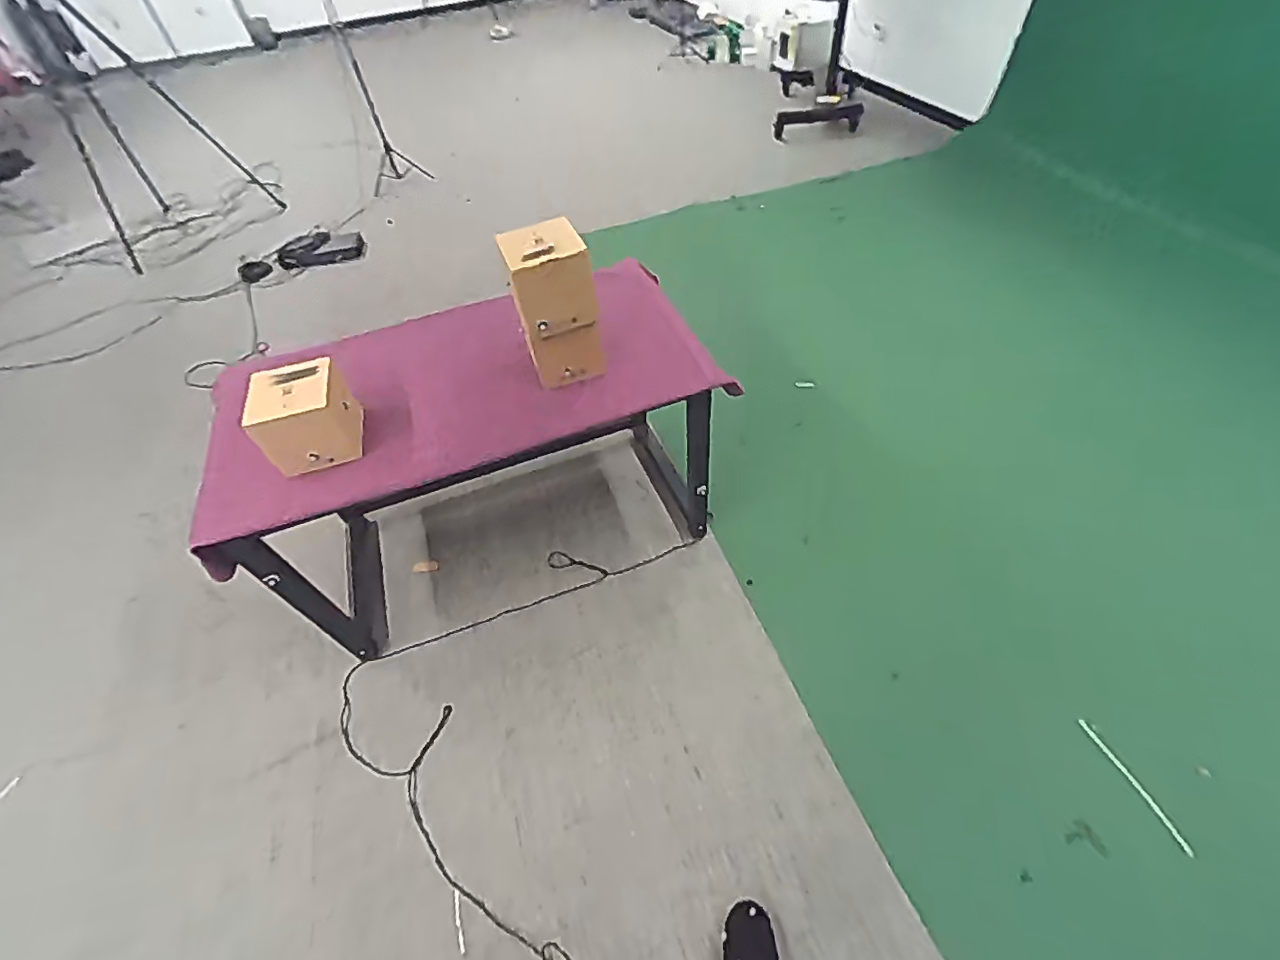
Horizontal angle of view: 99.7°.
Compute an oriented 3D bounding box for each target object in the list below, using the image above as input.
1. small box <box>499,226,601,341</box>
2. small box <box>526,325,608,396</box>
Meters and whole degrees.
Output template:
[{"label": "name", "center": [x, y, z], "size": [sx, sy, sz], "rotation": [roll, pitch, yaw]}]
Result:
[{"label": "small box", "center": [-0.196, -0.428, 1.198], "size": [0.168, 0.176, 0.179], "rotation": [-19, 49, -9]}, {"label": "small box", "center": [-0.187, -0.337, 1.336], "size": [0.168, 0.176, 0.179], "rotation": [-17, 51, -7]}]
